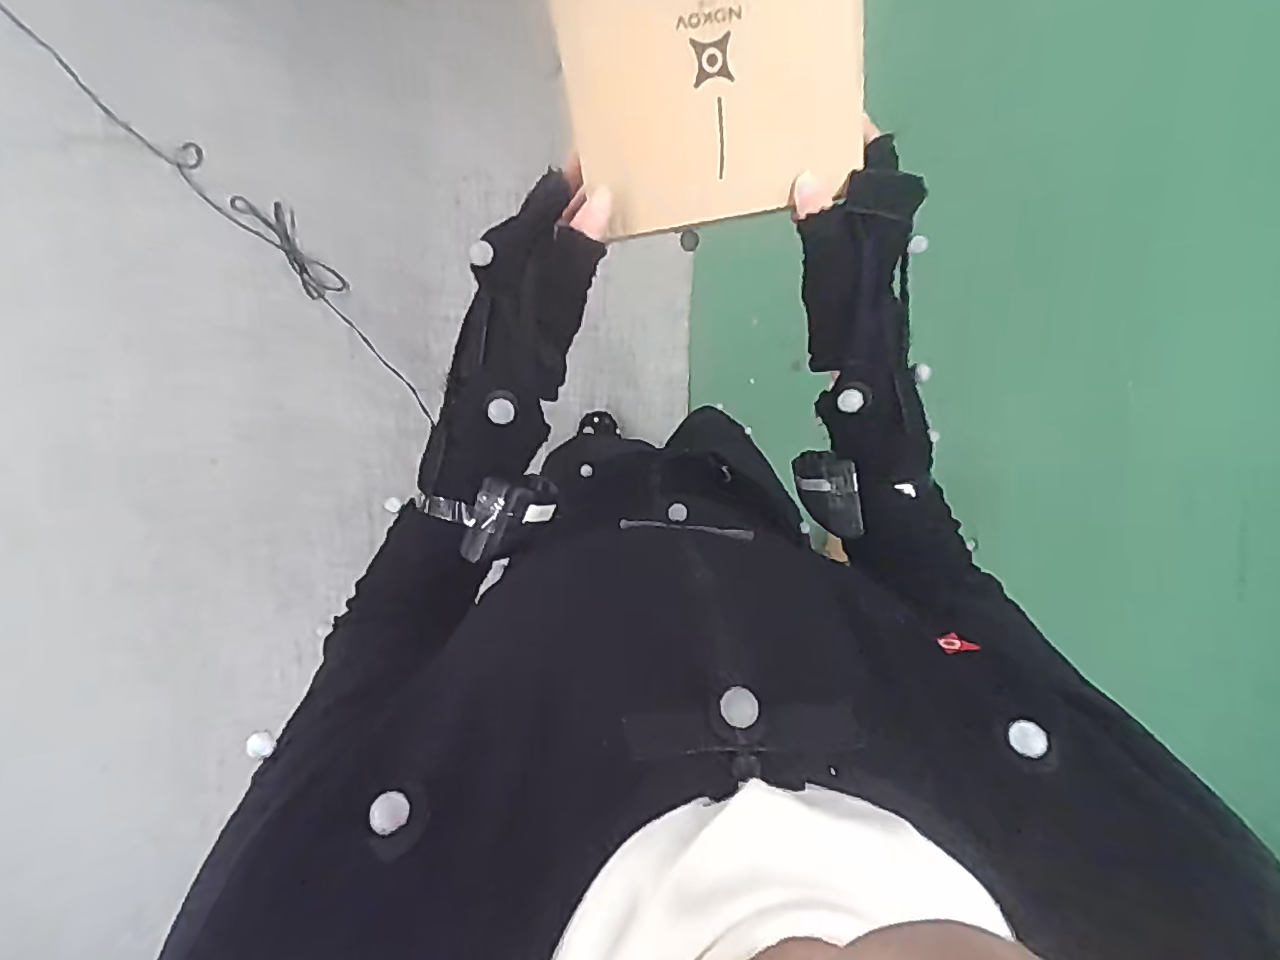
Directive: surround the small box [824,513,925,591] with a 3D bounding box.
[{"bbox_3d":[0.605,0.191,1.411,0.179,0.176,0.168,8,102,-6],"label":"small box"}]
